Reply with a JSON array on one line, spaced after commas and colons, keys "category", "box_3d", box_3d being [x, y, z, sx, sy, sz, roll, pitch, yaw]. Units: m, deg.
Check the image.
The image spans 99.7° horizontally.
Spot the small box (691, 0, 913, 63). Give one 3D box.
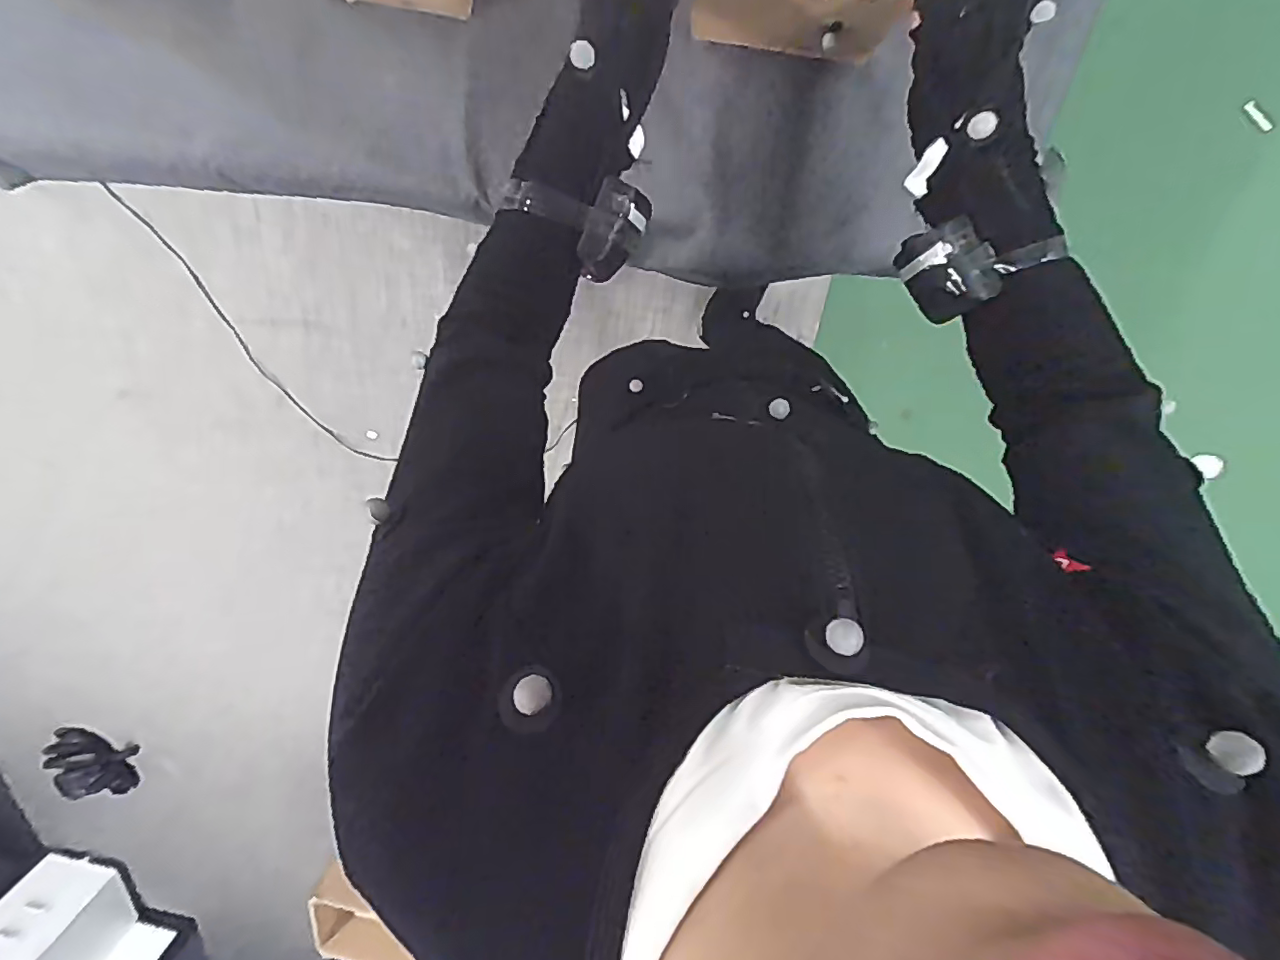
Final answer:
[{"category": "small box", "box_3d": [0.134, -0.453, 0.414, 0.168, 0.176, 0.179, 10, 115, 2]}]
